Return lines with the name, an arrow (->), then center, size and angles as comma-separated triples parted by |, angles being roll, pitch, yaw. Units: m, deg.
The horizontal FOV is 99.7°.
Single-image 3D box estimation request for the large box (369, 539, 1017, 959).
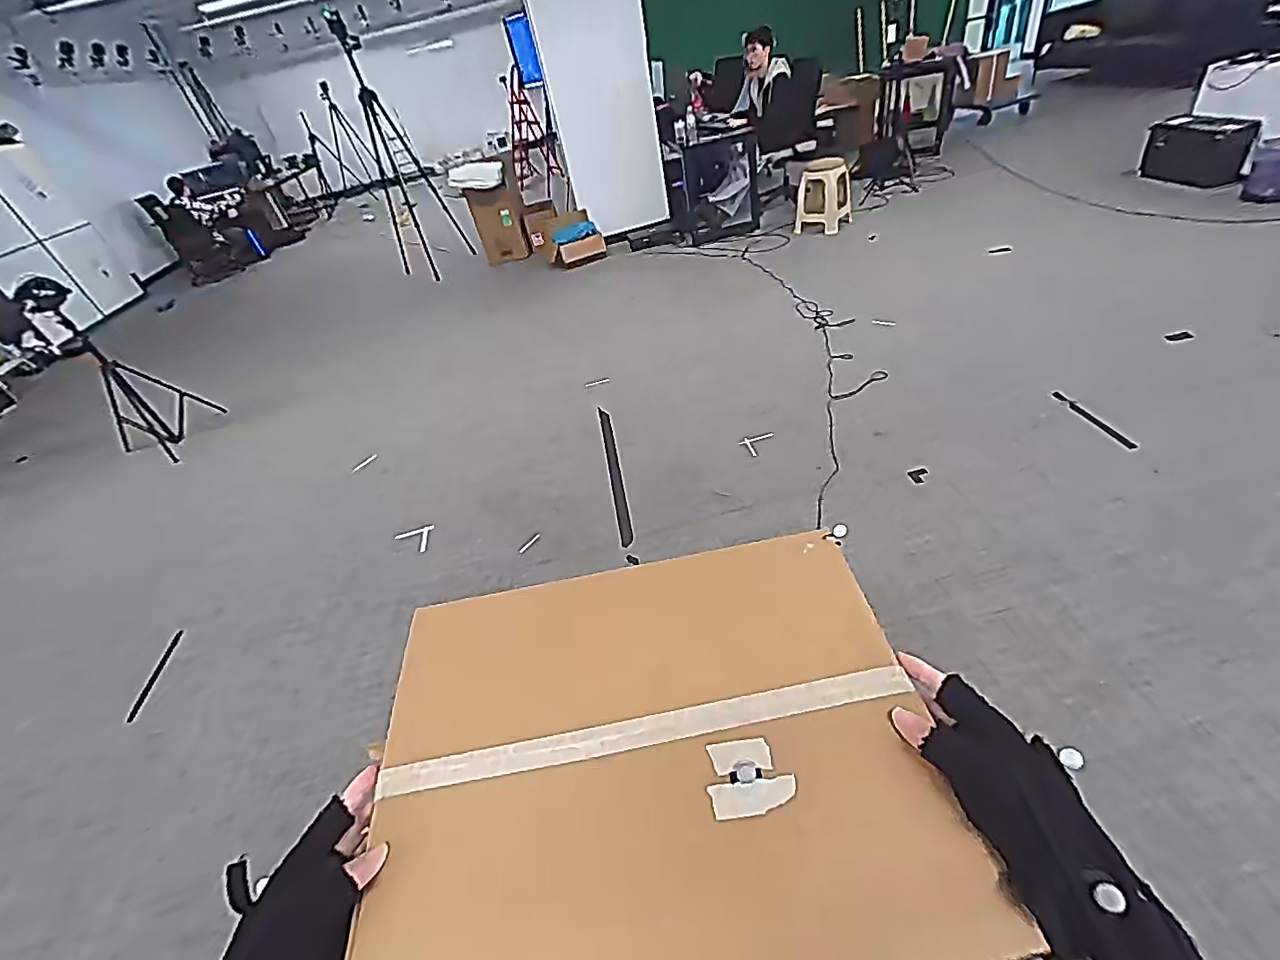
large box -> 0.026, 0.304, 0.520 | 0.408, 0.320, 0.320 | -11, 44, -1
